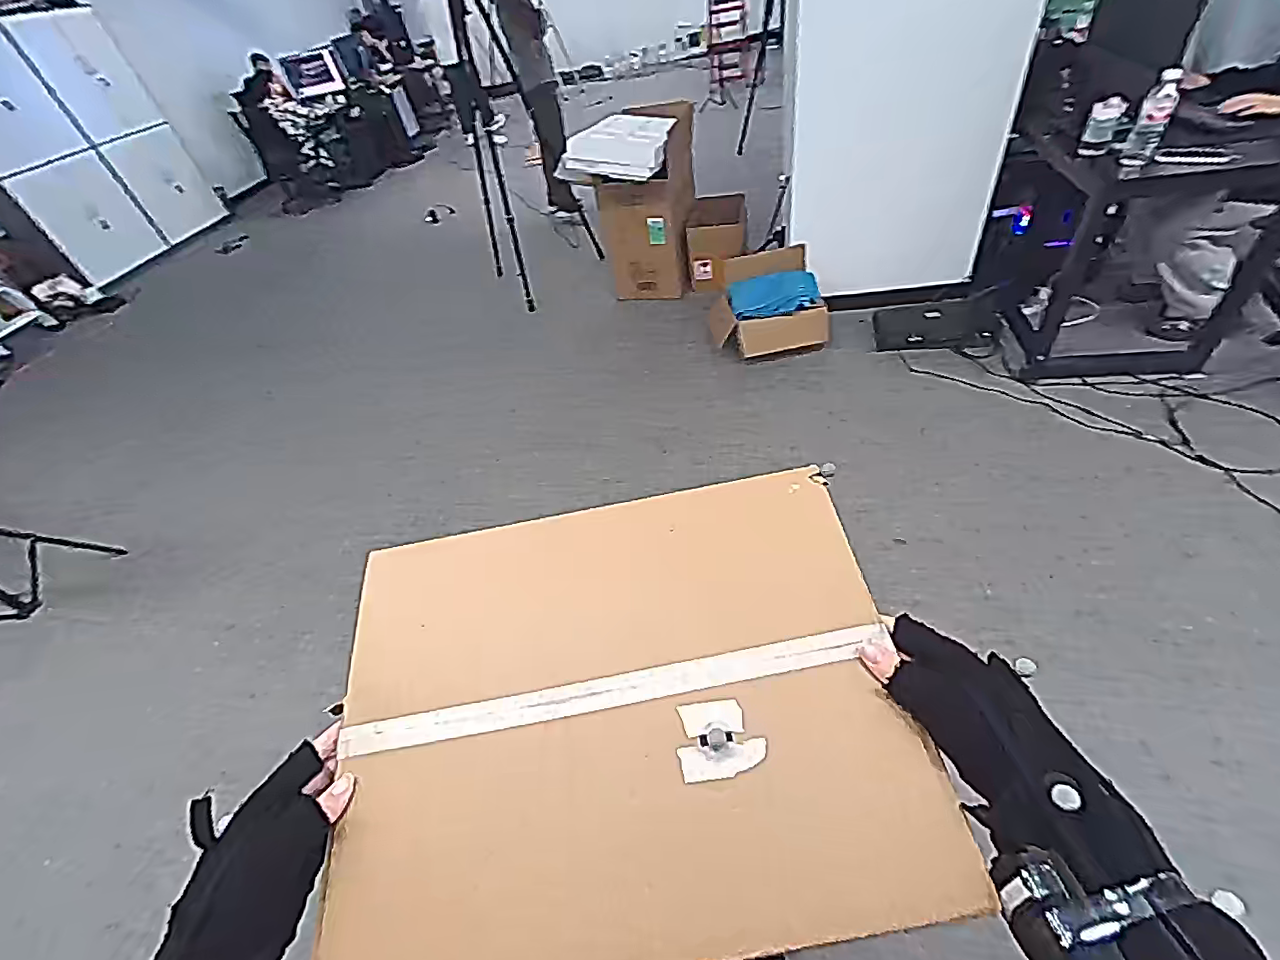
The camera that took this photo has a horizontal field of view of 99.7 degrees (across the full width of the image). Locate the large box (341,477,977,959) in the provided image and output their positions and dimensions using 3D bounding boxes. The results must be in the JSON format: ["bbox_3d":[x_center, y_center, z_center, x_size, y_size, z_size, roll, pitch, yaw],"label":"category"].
[{"bbox_3d":[0.001,0.243,0.529,0.408,0.320,0.320,-11,56,0],"label":"large box"}]
